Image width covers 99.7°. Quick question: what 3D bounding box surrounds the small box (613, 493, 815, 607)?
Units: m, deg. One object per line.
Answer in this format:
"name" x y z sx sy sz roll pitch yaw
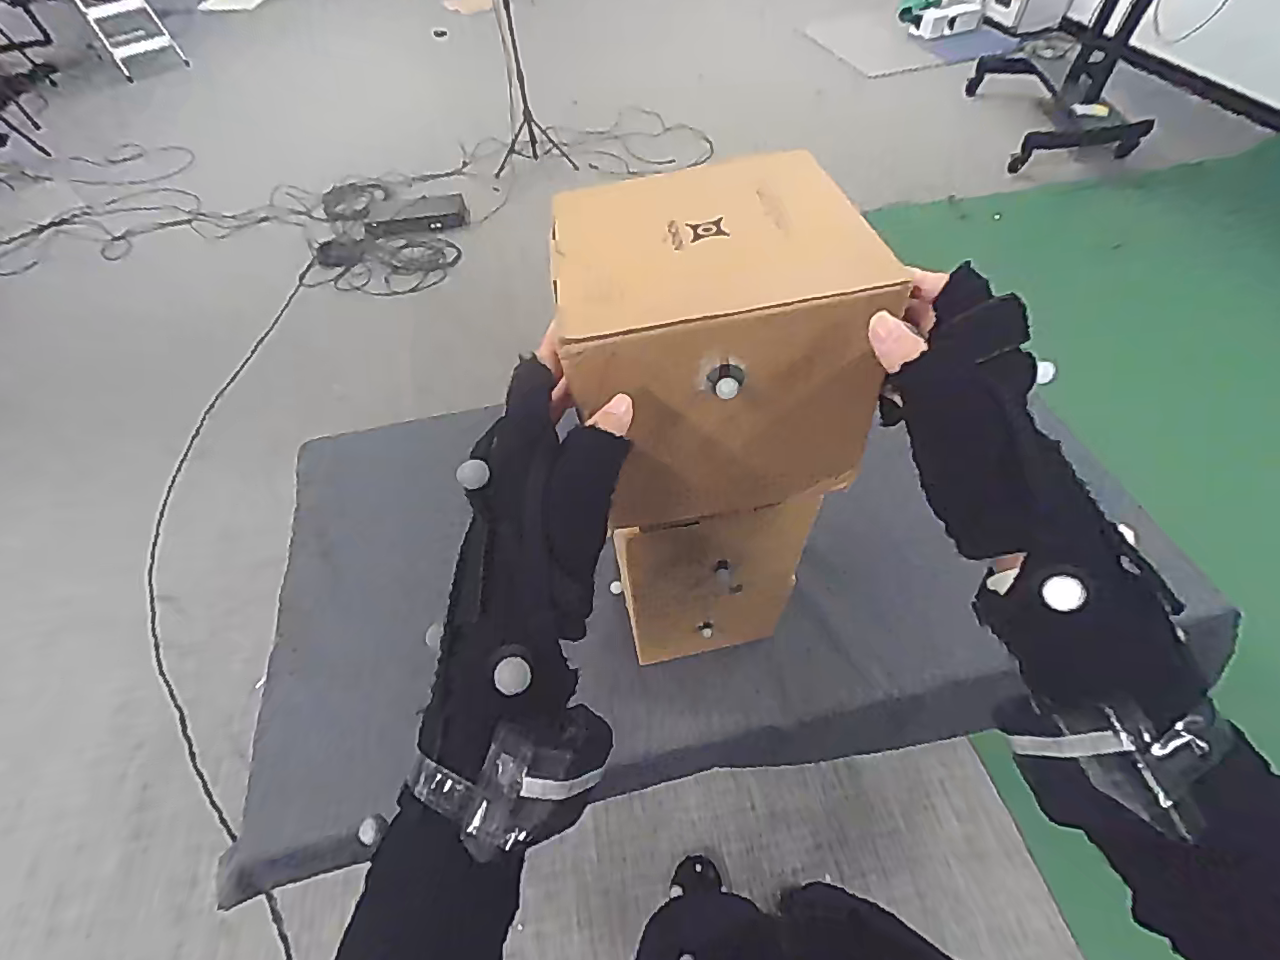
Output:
"small box" 0.052 0.013 0.545 0.168 0.176 0.179 -12 54 -5

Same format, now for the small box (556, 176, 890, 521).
"small box" 0.044 -0.087 0.388 0.179 0.176 0.168 -9 50 -1

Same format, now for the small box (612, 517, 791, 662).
"small box" 0.065 0.108 0.676 0.179 0.176 0.168 -12 54 -4
